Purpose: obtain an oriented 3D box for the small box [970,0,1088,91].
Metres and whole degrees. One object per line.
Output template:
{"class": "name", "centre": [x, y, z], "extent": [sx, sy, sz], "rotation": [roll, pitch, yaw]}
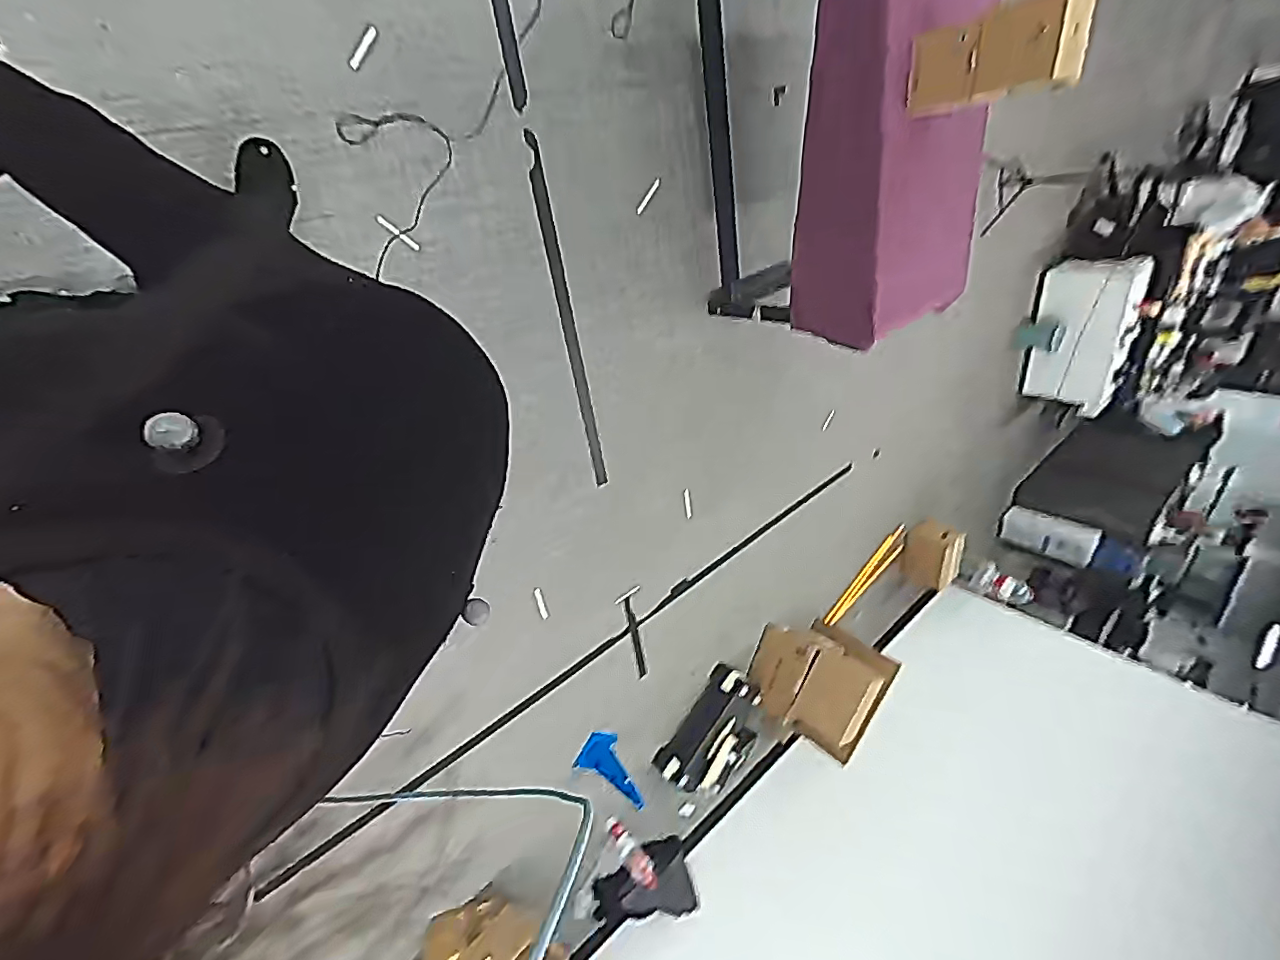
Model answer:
{"class": "small box", "centre": [0.894, -1.025, 1.250], "extent": [0.168, 0.176, 0.179], "rotation": [-26, 123, -31]}
